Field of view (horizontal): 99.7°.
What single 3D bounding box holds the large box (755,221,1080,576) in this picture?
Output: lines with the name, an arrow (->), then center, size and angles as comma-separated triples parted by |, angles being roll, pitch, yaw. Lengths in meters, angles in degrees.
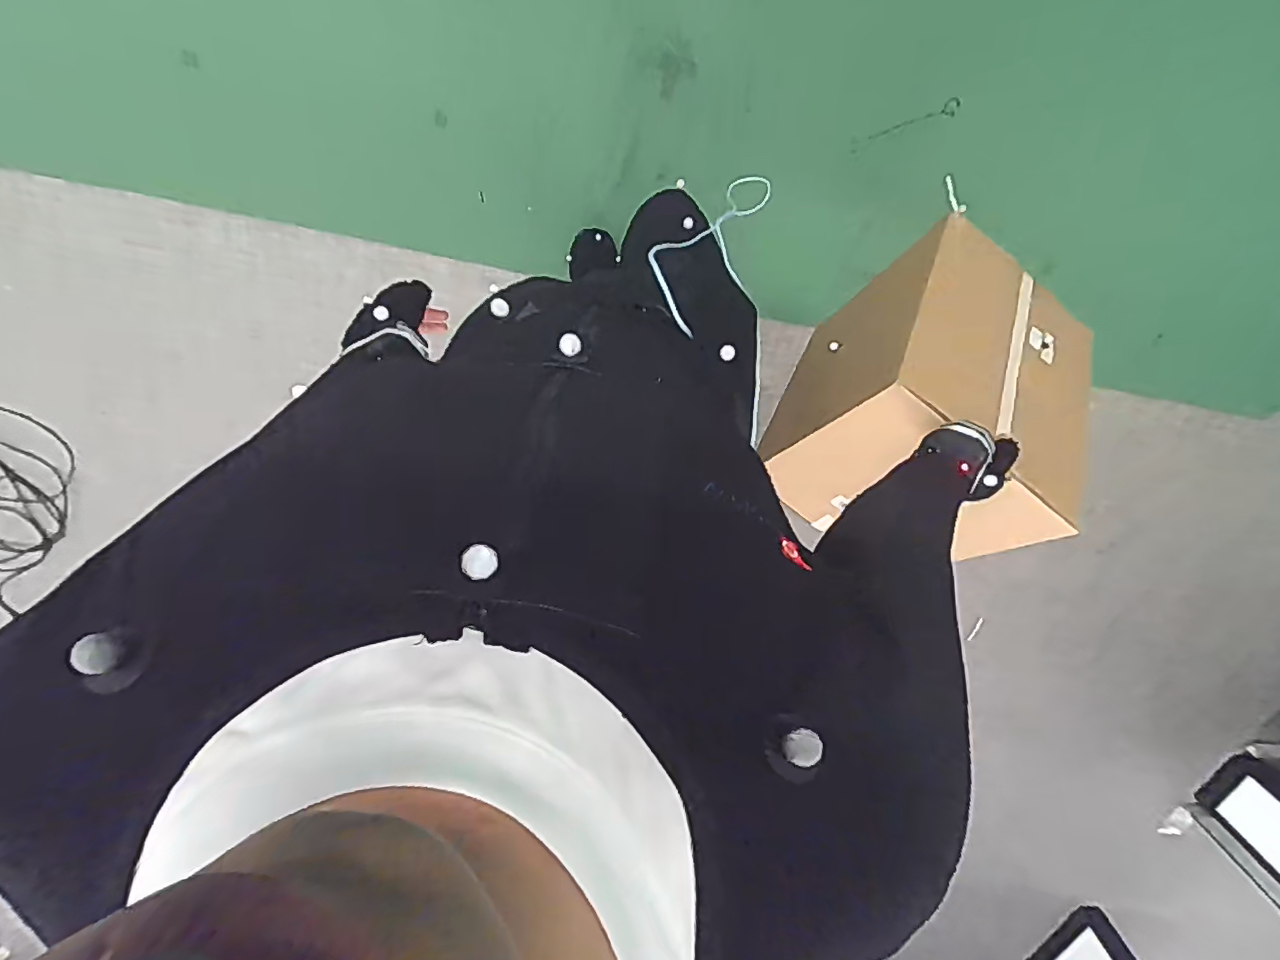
large box -> 0.445, -0.115, 0.878 | 0.320, 0.408, 0.320 | 37, 149, -9
